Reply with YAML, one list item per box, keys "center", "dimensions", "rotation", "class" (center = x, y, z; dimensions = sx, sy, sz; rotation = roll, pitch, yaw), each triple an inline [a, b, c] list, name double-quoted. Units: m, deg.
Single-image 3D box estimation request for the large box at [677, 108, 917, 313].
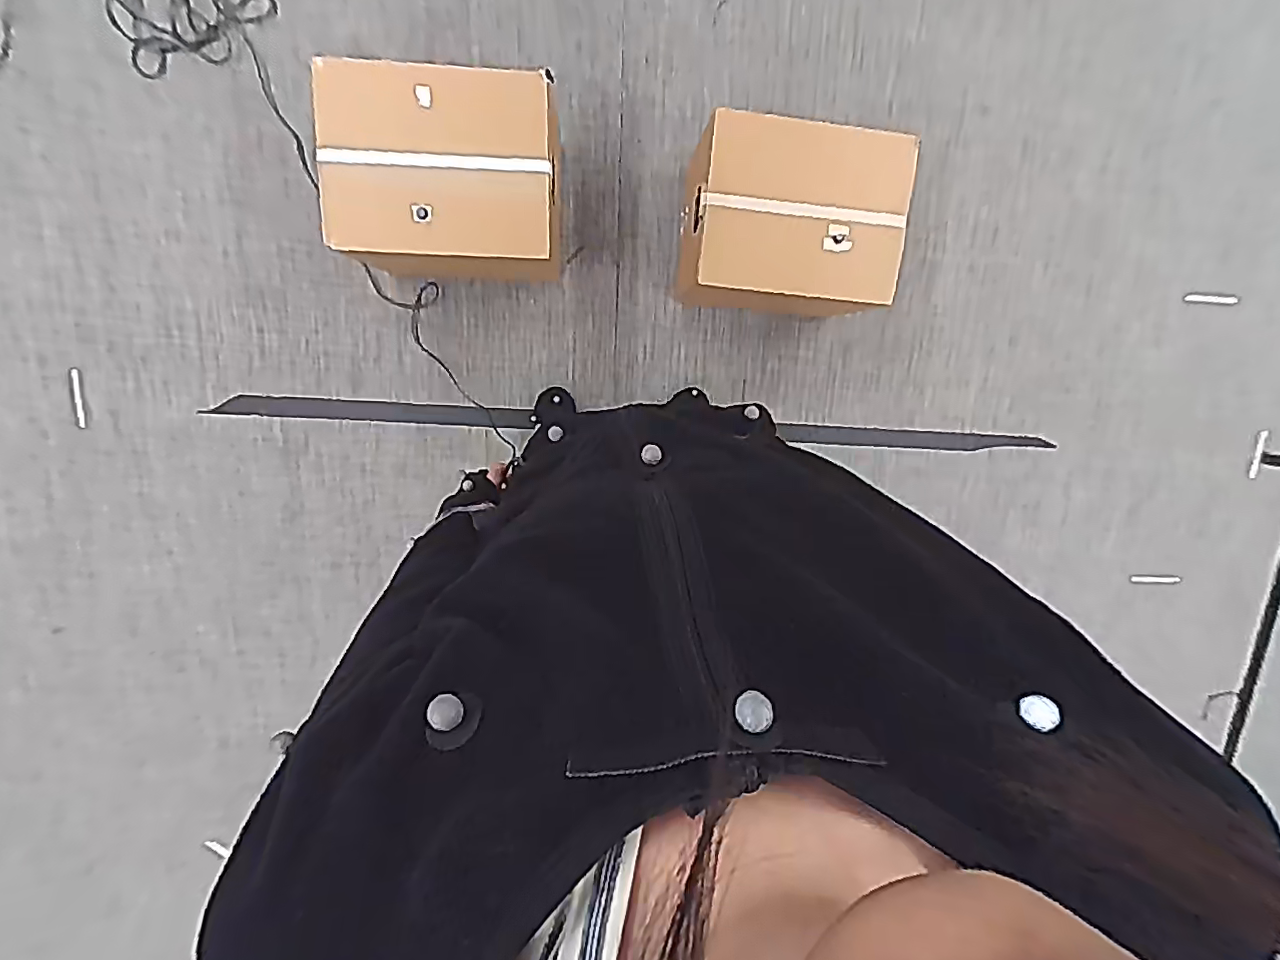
- center: [0.311, -0.559, 1.194]
  dimensions: [0.408, 0.320, 0.320]
  rotation: [4, 102, -6]
  class: "large box"
